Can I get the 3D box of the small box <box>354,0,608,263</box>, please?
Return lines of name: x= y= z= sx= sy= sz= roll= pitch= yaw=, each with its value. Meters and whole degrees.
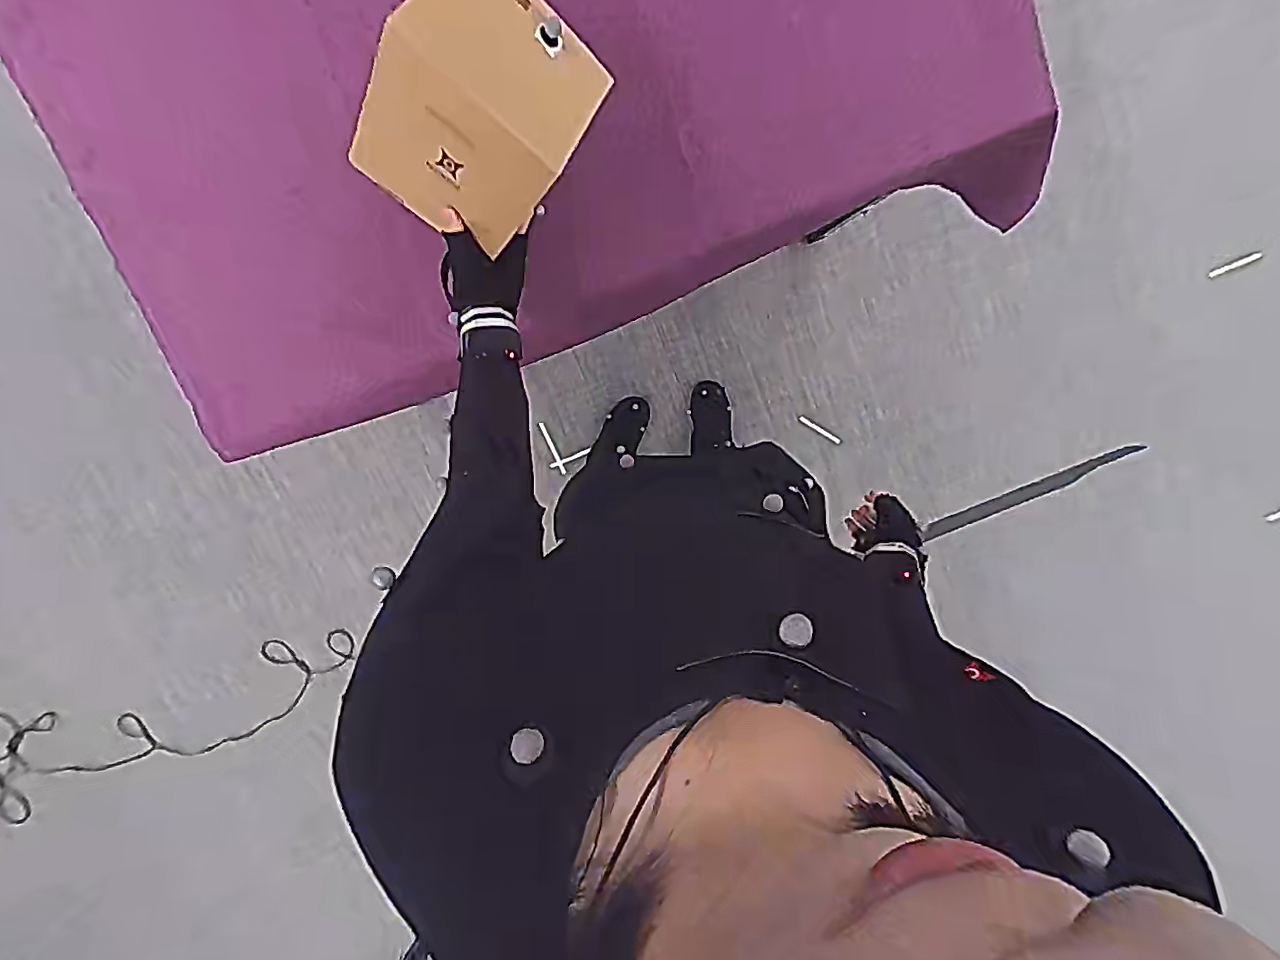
small box: x=-0.157 y=-0.369 z=0.549 sx=0.168 sy=0.179 sz=0.176 roll=32 pitch=63 yaw=-27
